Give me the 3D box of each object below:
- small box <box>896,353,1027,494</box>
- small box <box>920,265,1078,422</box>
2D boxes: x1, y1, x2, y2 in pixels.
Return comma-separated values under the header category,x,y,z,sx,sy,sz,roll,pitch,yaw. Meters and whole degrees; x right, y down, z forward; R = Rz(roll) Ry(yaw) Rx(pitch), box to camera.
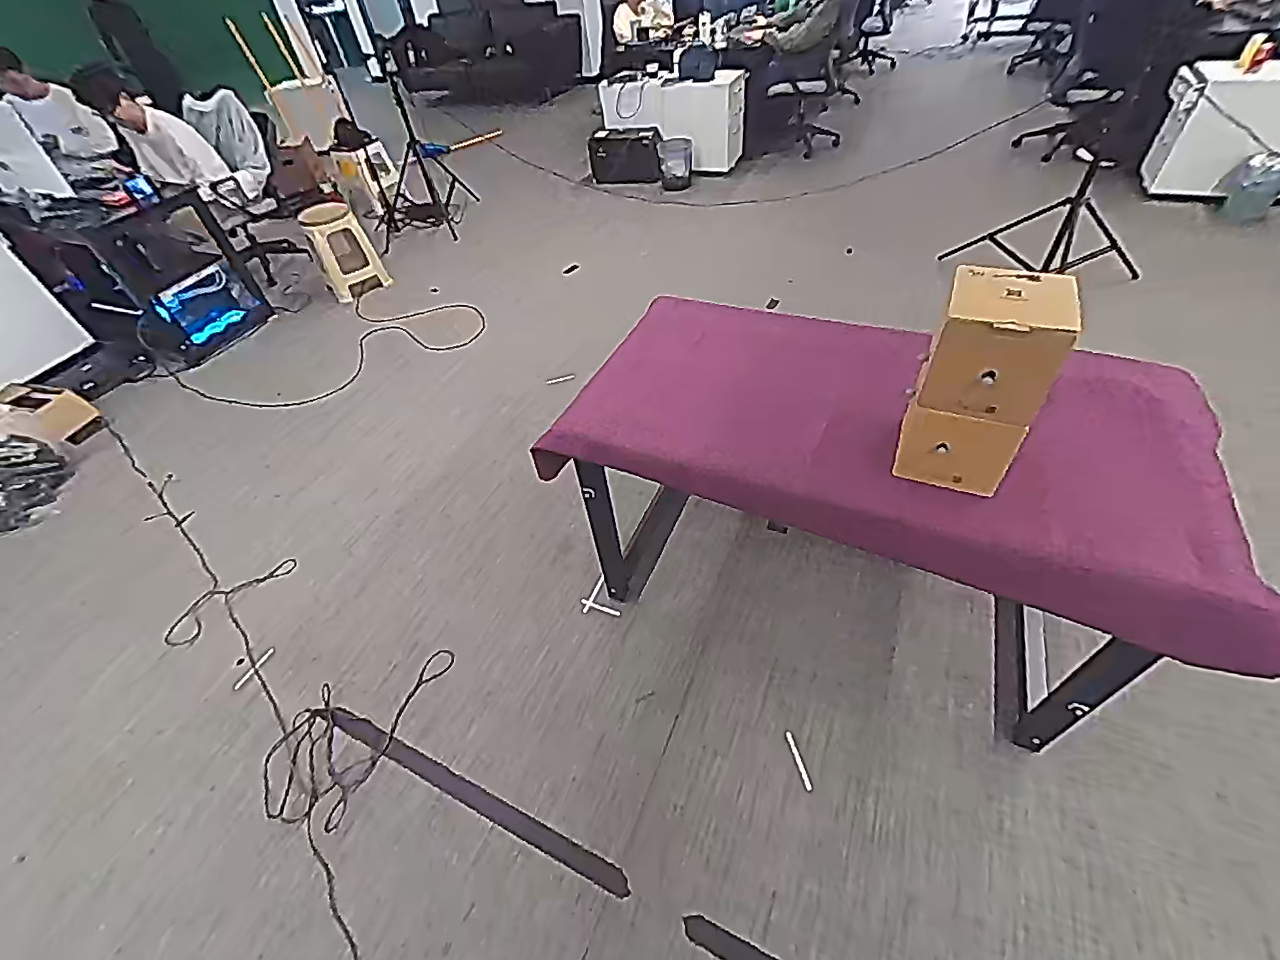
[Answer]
category,x,y,z,sx,sy,sz,roll,pitch,yaw
small box,0.577,-0.101,0.979,0.168,0.176,0.179,15,50,21
small box,0.563,-0.217,0.863,0.168,0.176,0.179,16,51,22
